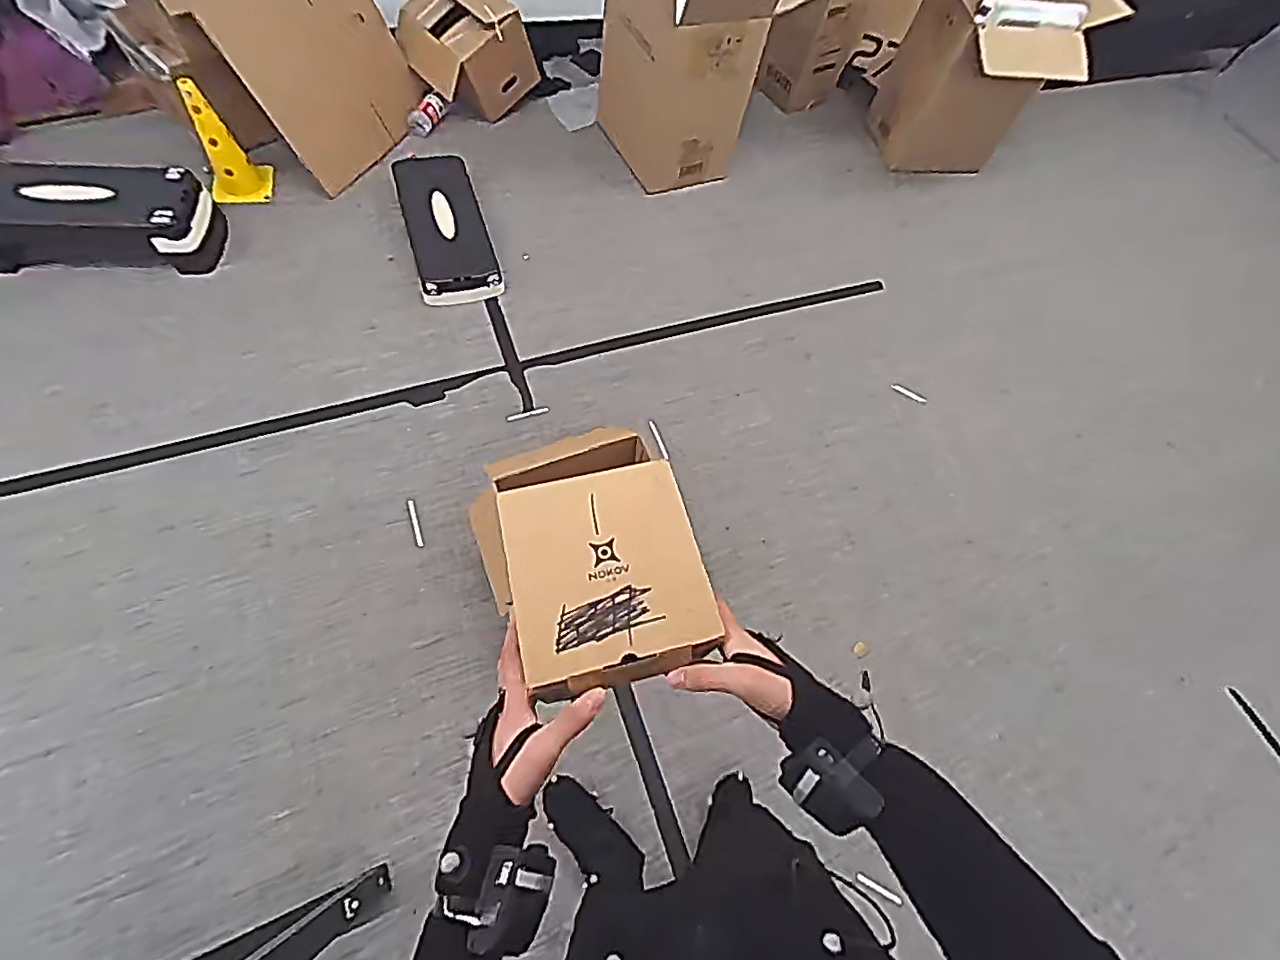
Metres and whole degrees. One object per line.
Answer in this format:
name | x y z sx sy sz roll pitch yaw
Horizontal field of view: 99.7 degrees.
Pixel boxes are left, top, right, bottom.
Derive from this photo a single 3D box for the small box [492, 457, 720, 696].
small box | -0.036 0.104 0.530 0.168 0.176 0.179 -12 65 -9
